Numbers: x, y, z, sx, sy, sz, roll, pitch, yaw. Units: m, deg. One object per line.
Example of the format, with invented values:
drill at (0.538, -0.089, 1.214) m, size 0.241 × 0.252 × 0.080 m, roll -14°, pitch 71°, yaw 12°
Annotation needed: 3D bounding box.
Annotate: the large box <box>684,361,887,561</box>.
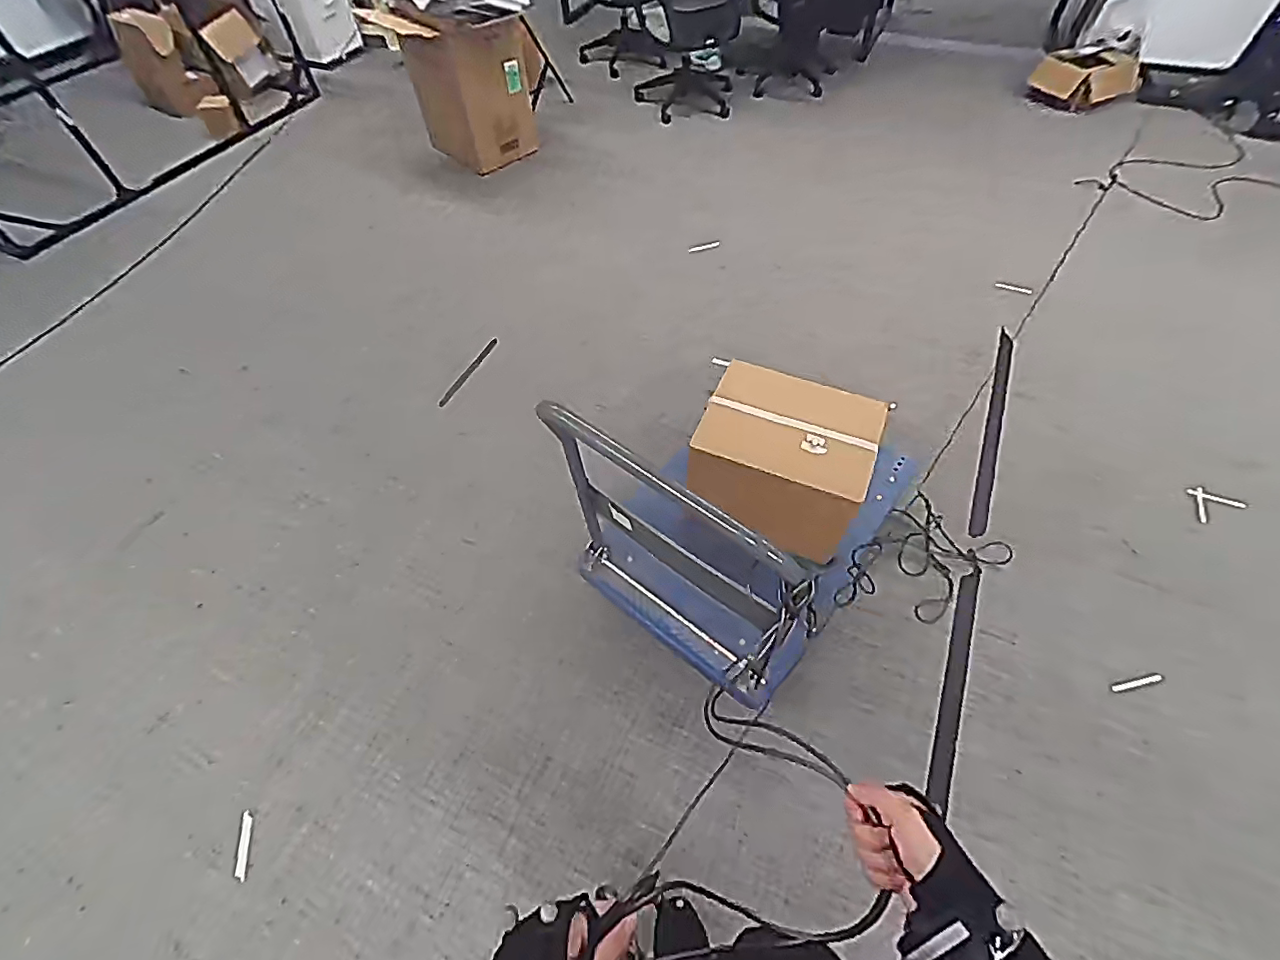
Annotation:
large box at (0.355, -0.046, 1.392) m, size 0.408 × 0.320 × 0.320 m, roll 20°, pitch 60°, yaw 14°
